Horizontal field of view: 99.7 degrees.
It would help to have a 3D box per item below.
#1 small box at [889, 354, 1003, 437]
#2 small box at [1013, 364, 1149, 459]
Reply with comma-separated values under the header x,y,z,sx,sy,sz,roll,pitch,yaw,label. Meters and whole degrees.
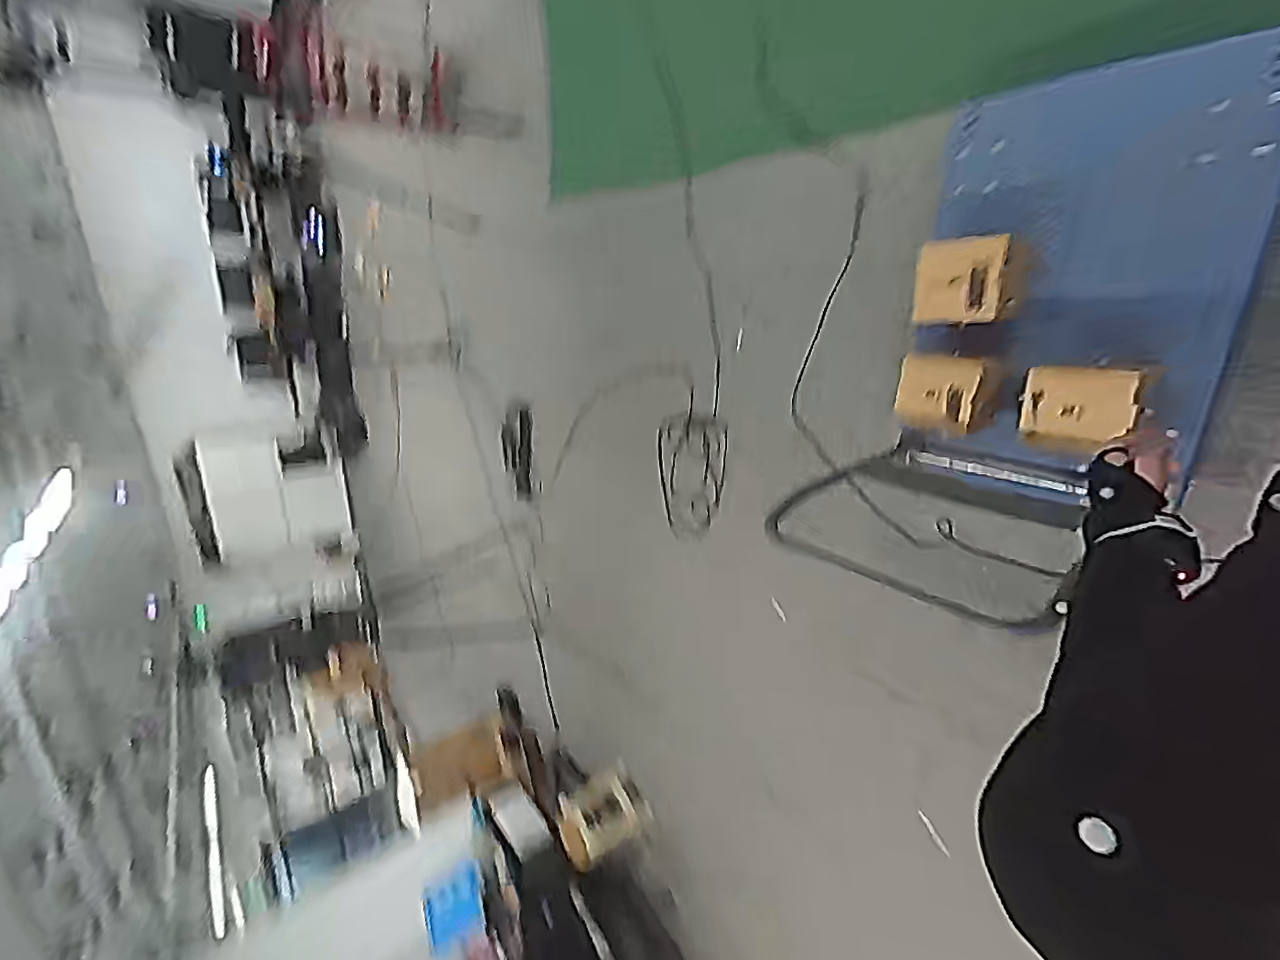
x,y,z,sx,sy,sz,roll,pitch,yaw,label
0.741,-0.212,1.307,0.179,0.176,0.168,24,119,46,small box
0.909,-0.150,1.114,0.179,0.176,0.168,17,113,48,small box
